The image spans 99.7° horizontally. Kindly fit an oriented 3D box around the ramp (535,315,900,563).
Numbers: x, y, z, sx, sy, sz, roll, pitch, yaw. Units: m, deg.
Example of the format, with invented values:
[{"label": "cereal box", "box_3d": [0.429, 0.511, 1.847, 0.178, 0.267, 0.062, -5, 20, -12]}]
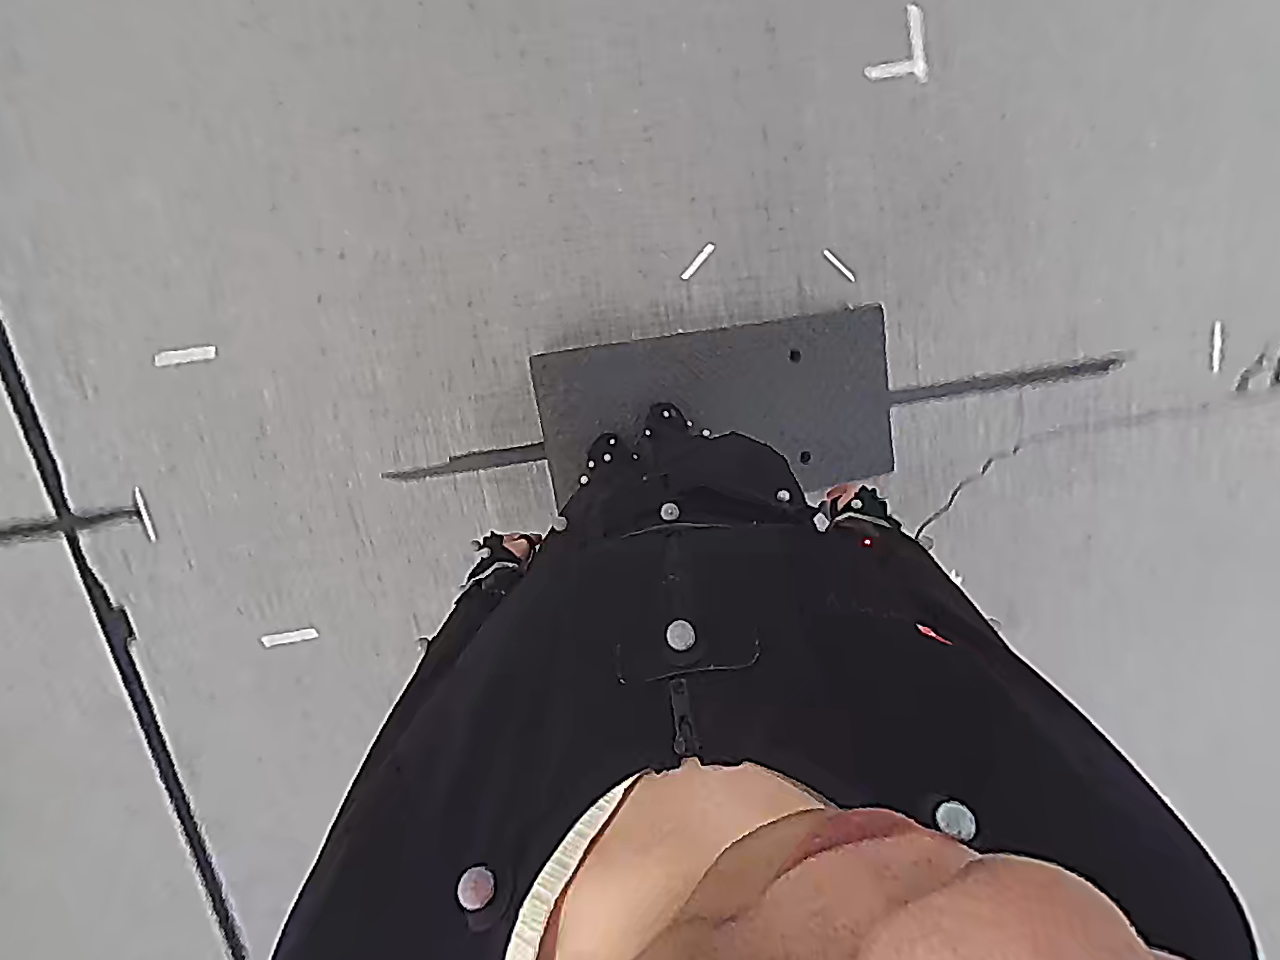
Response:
[{"label": "ramp", "box_3d": [0.257, -0.131, 1.455, 0.991, 0.206, 0.509, -13, 98, -4]}]
